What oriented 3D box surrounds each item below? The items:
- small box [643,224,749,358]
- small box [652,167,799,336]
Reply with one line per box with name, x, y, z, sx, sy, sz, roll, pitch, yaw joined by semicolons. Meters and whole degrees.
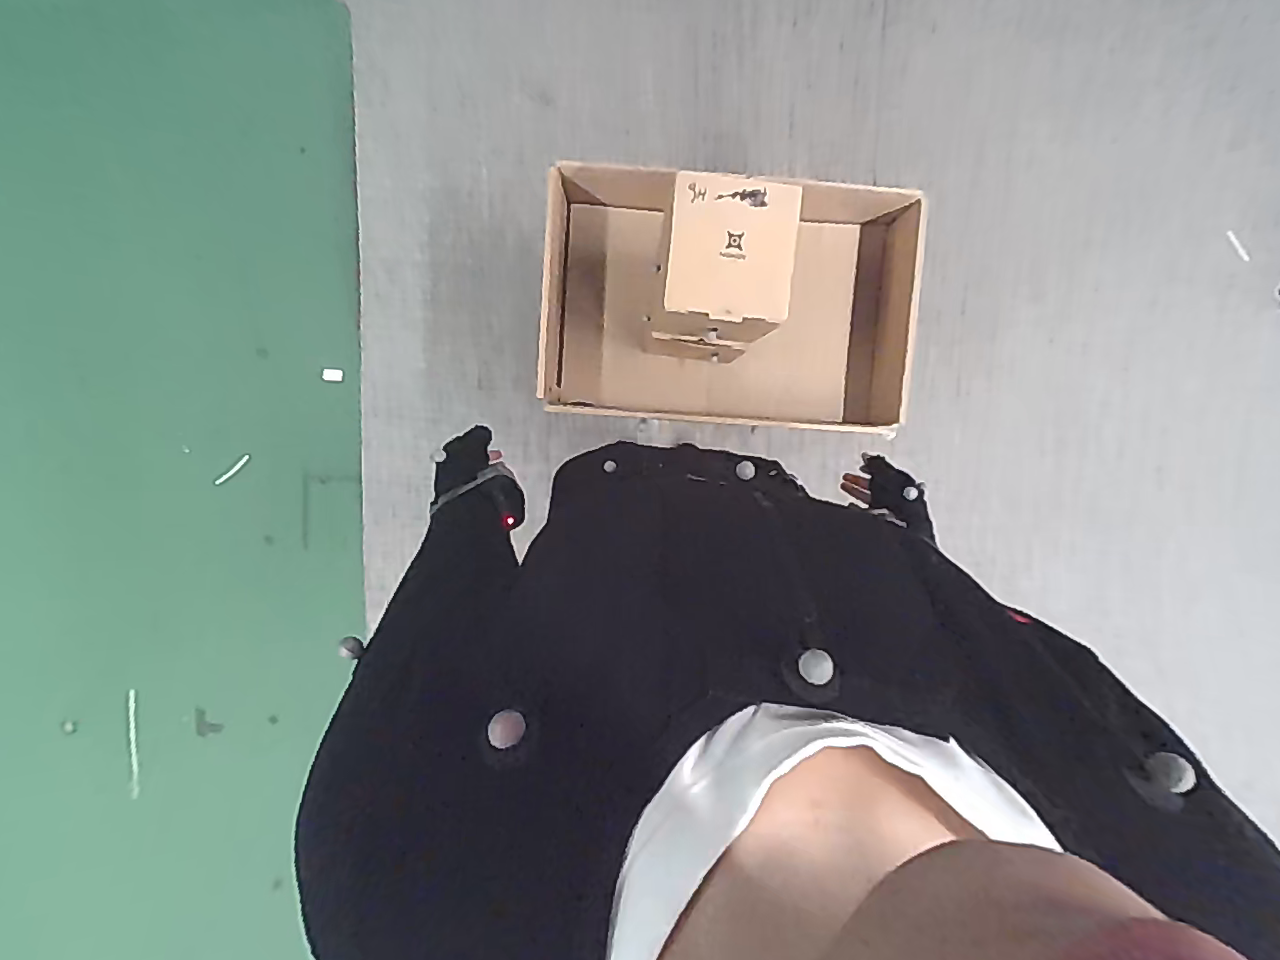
small box;0.098;-0.316;0.937;0.168;0.176;0.179;6;93;-5
small box;0.110;-0.310;0.773;0.168;0.176;0.179;5;96;-5
